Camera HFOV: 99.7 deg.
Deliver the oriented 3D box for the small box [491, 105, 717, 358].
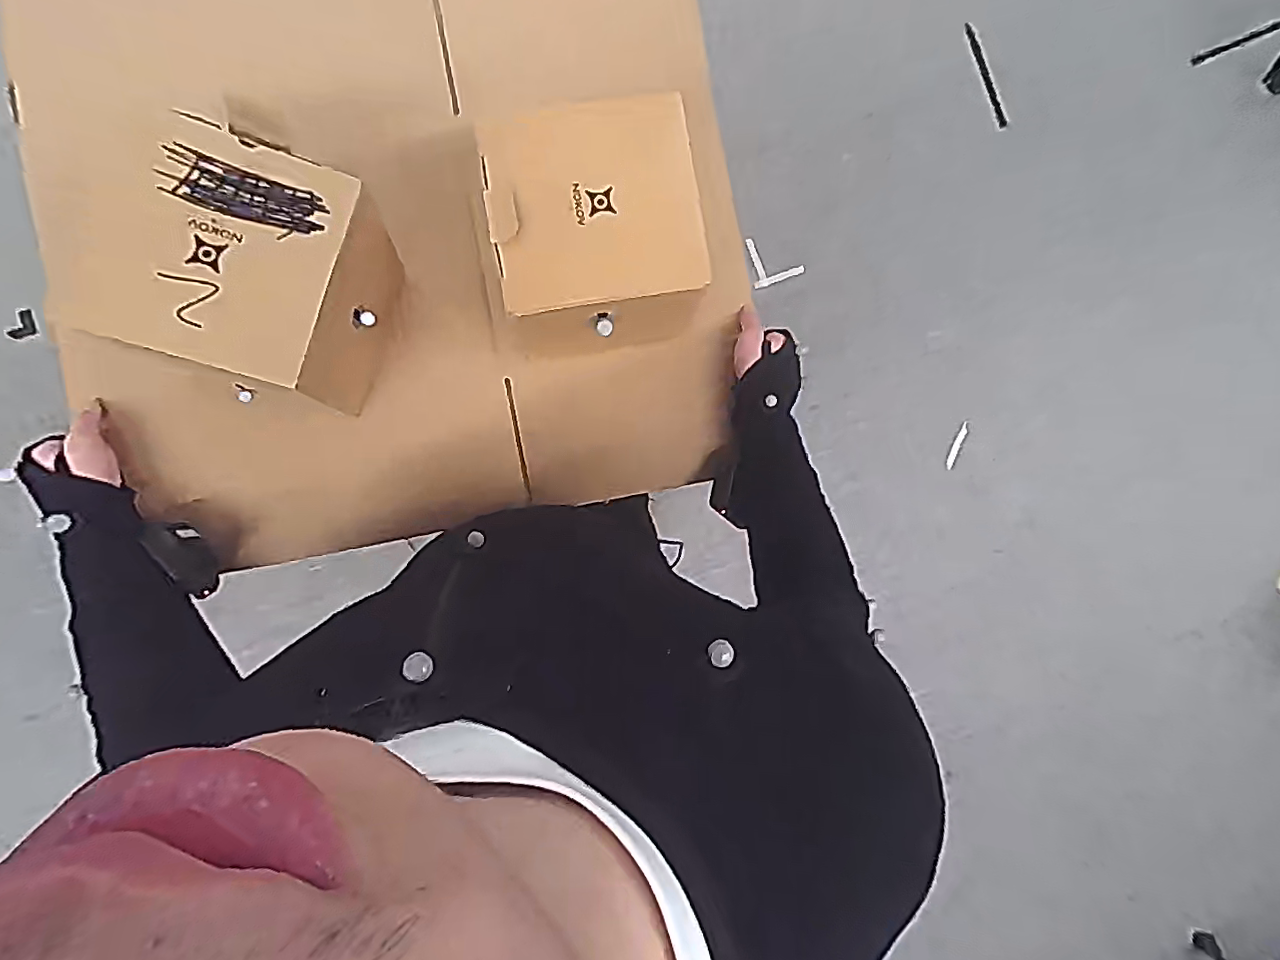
[{"bbox_3d":[-0.035,-0.231,0.542,0.179,0.176,0.168,-10,90,-3],"label":"small box"}]
